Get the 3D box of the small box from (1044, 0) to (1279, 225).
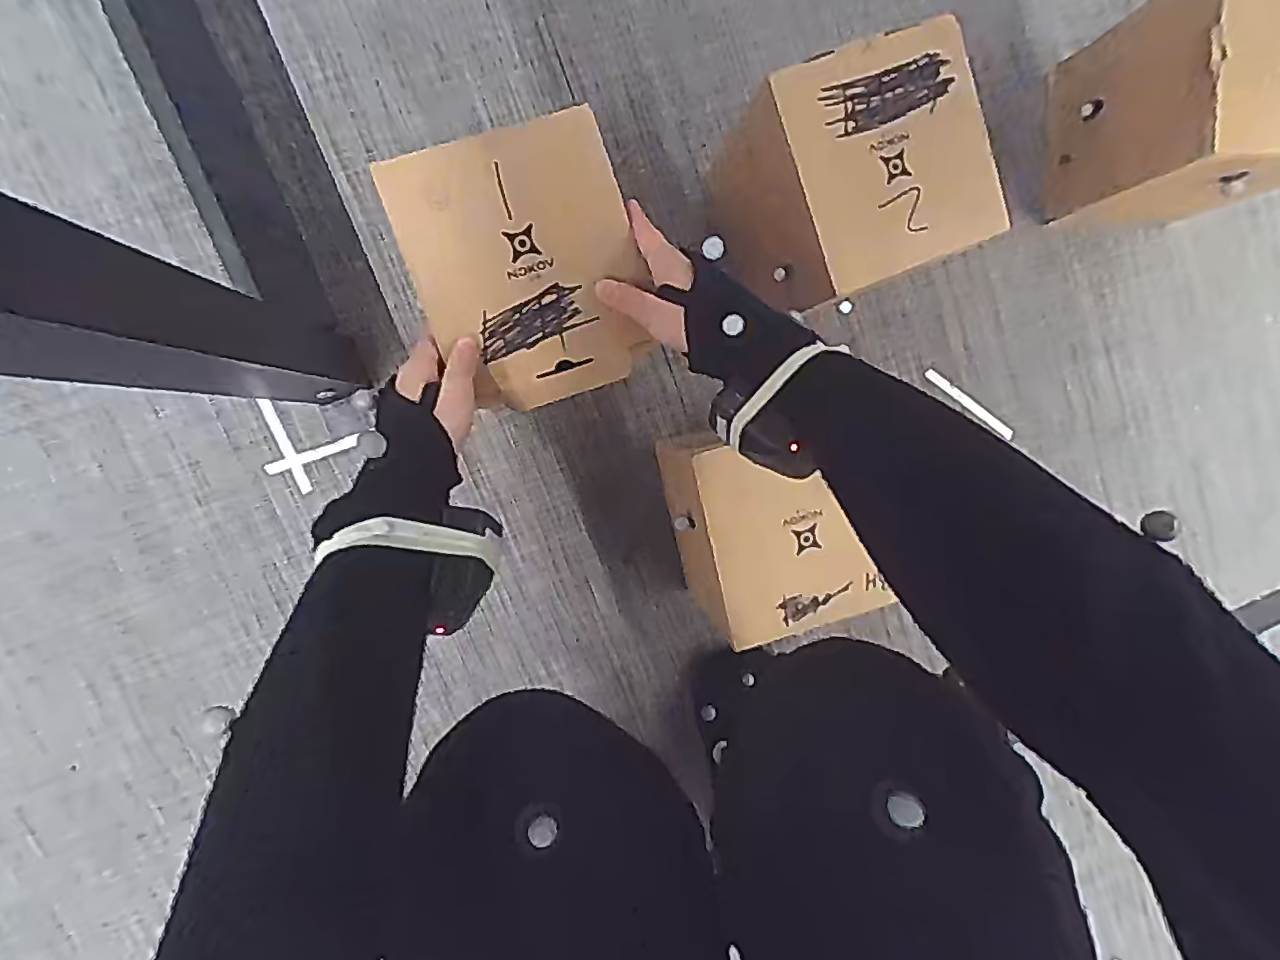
[{"bbox_3d":[0.564,-0.373,0.550,0.179,0.176,0.168,-4,97,-7],"label":"small box"}]
